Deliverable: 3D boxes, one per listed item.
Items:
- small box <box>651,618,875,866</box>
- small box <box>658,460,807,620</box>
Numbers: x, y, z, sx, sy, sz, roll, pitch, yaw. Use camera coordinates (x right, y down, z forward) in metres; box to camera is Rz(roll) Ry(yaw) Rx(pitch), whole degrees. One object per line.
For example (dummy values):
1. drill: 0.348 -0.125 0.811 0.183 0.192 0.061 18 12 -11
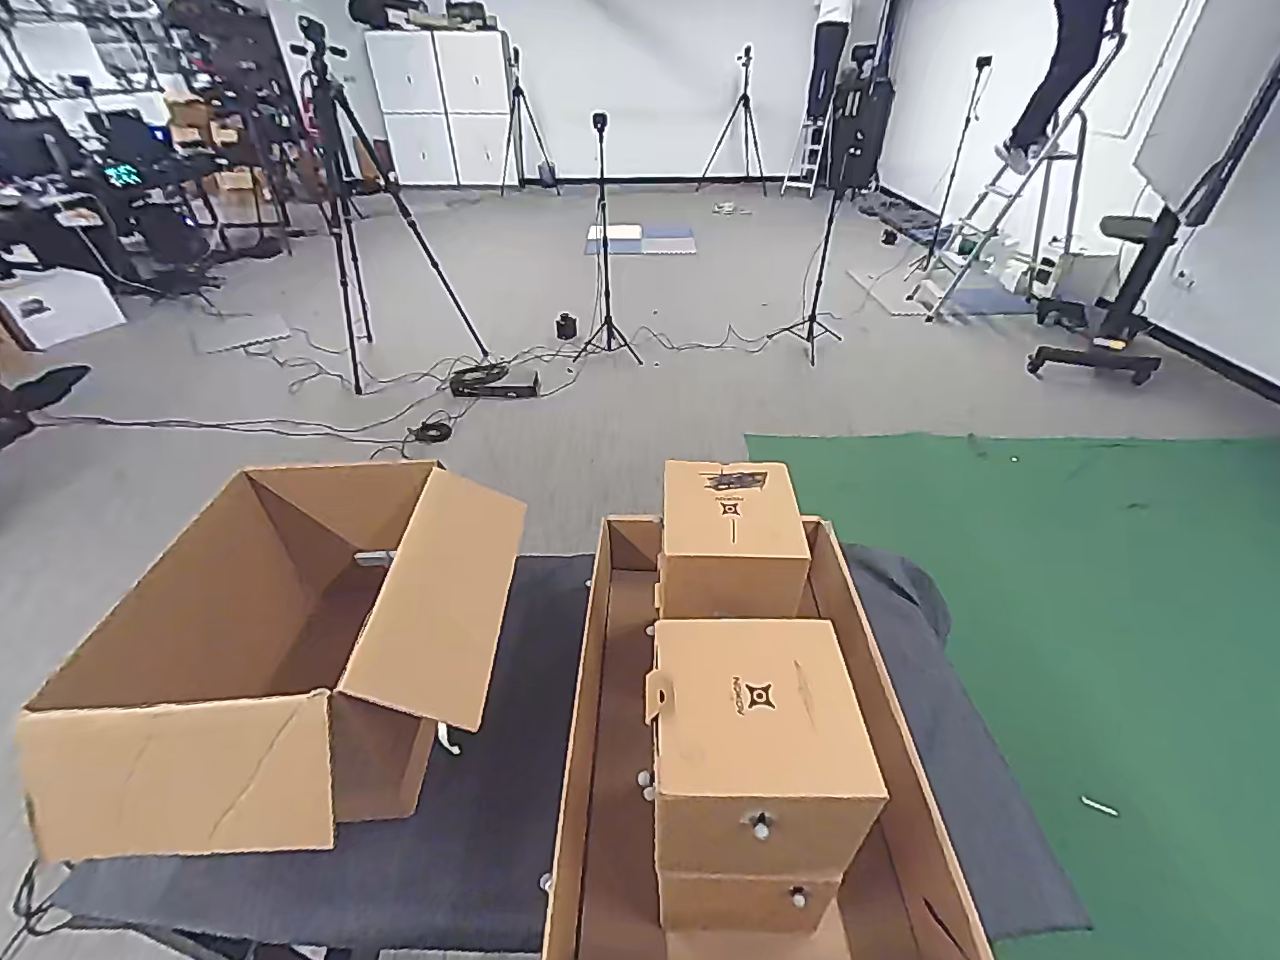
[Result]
1. small box: 0.099 0.254 0.528 0.179 0.176 0.168 1 39 0
2. small box: 0.111 0.094 0.725 0.168 0.176 0.179 2 41 2
